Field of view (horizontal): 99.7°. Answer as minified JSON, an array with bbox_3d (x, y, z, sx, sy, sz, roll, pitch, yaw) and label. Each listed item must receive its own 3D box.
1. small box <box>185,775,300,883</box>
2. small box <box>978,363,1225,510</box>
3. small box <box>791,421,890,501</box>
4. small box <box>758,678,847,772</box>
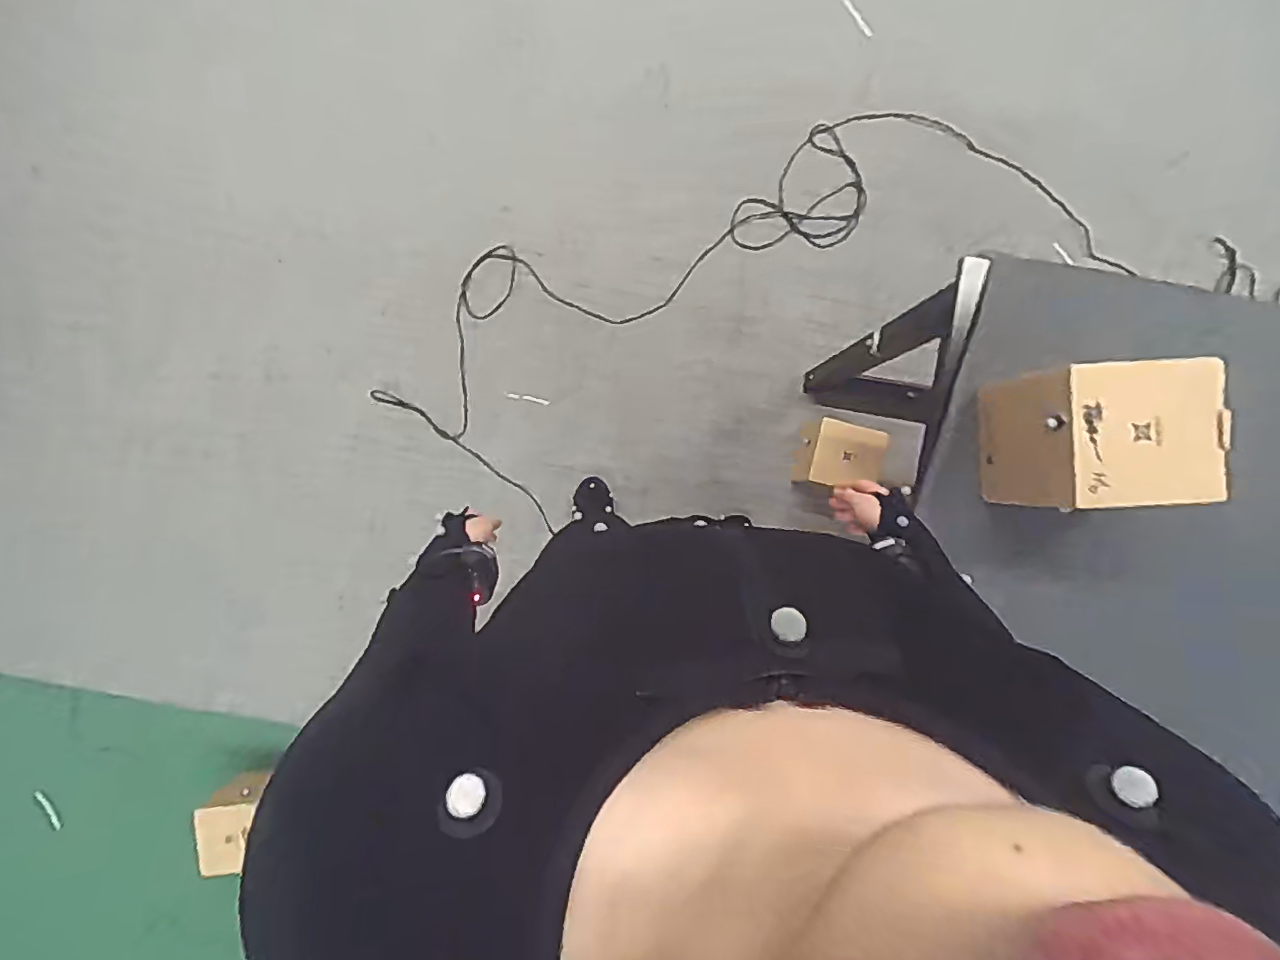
[{"bbox_3d":[-0.995,0.877,1.374,0.179,0.176,0.168,-6,89,0],"label":"small box"},{"bbox_3d":[0.571,-0.050,0.689,0.179,0.176,0.168,-2,90,-1],"label":"small box"},{"bbox_3d":[0.517,-0.044,1.419,0.179,0.176,0.168,14,89,-2],"label":"small box"},{"bbox_3d":[0.415,0.628,1.407,0.179,0.176,0.168,5,90,-1],"label":"small box"}]
